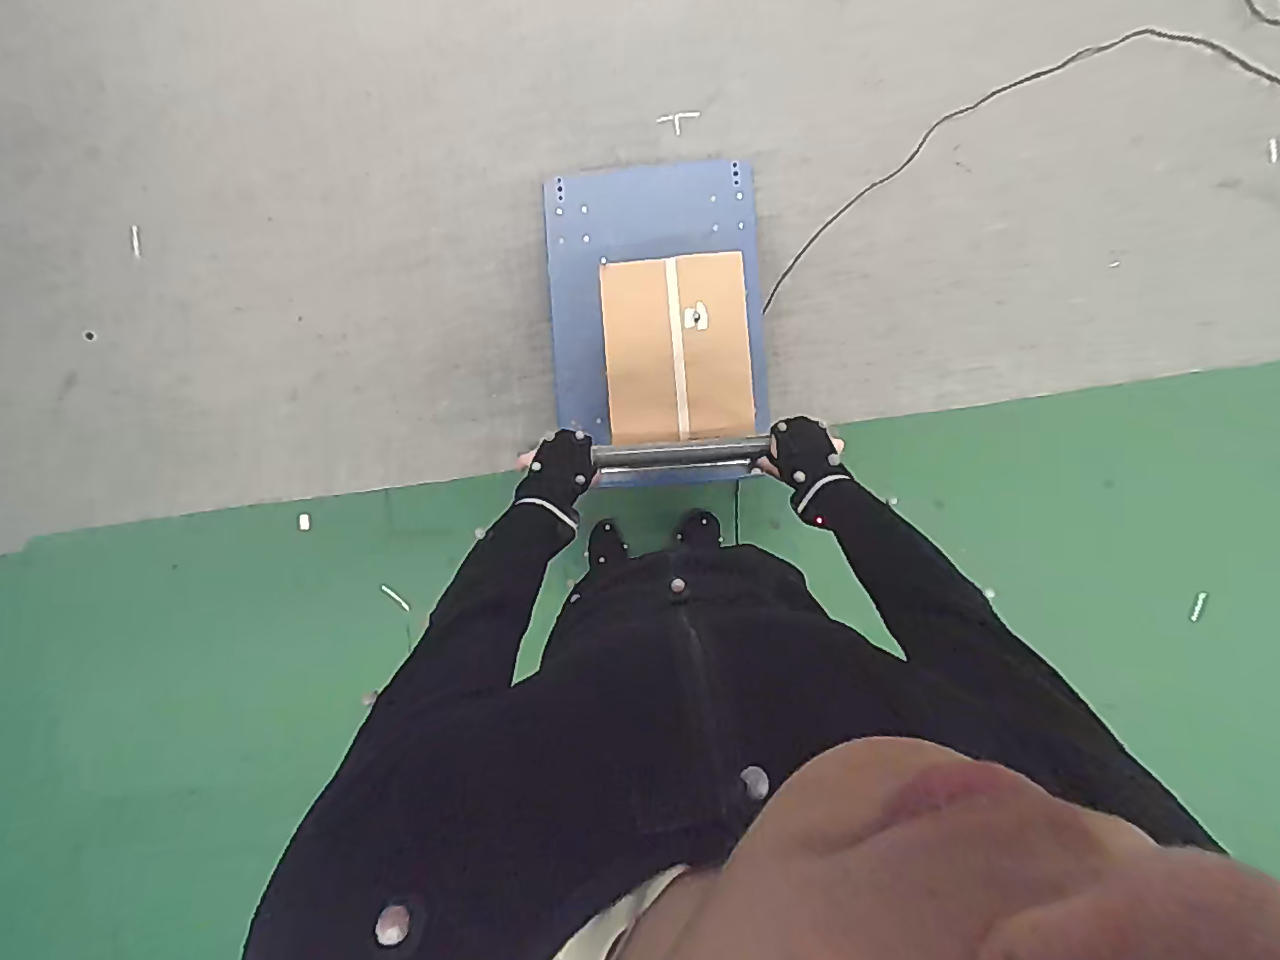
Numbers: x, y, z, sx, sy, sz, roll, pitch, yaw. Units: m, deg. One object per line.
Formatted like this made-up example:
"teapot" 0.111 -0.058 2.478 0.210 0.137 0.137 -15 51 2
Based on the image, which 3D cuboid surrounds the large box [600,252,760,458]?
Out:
"large box" 0.091 -0.273 1.302 0.320 0.320 0.408 -5 89 1
